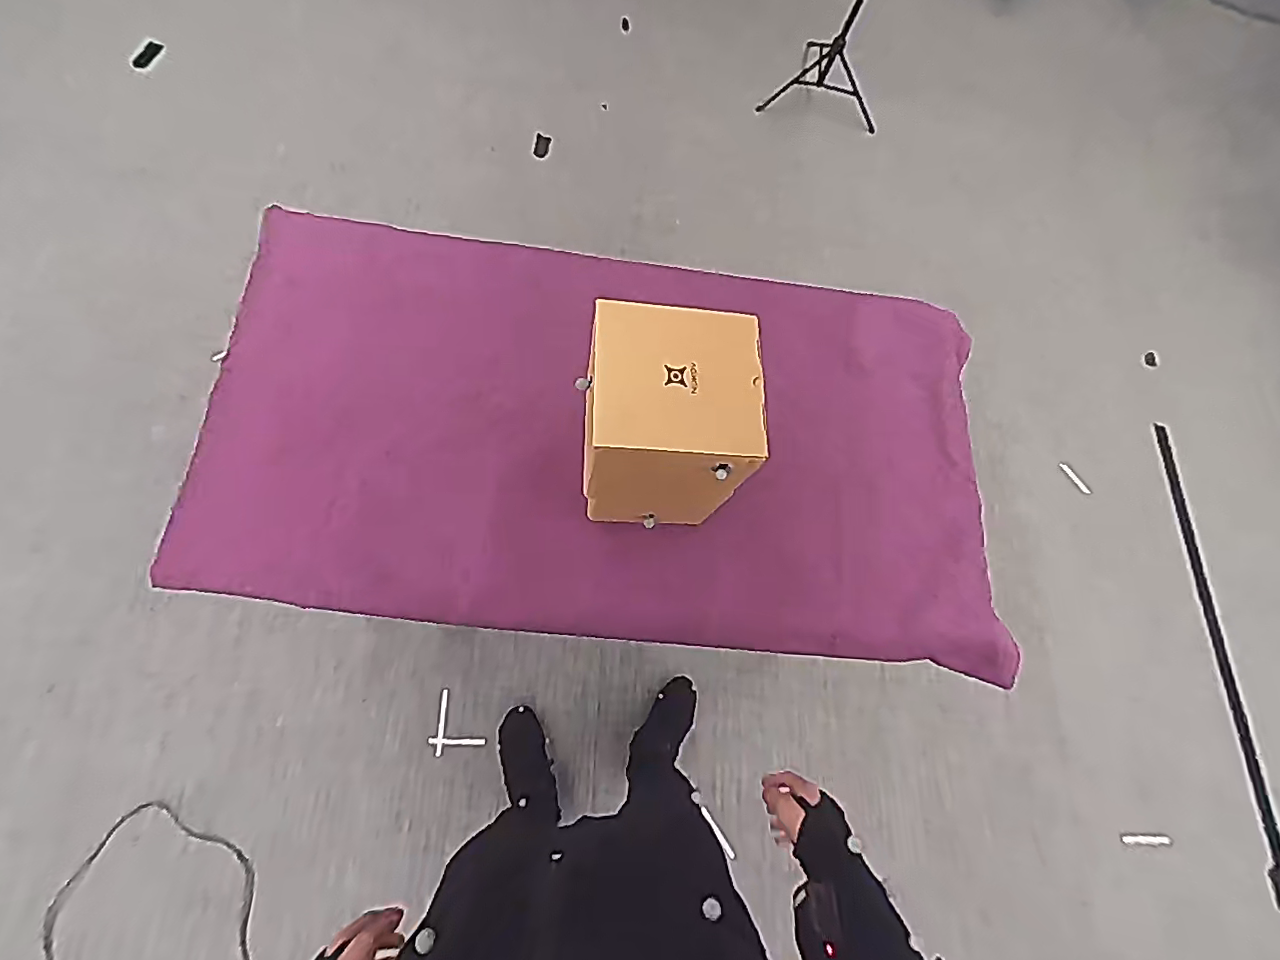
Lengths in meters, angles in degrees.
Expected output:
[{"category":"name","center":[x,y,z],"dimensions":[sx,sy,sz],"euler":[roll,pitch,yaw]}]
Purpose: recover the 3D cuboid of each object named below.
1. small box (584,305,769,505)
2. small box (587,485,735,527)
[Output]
[{"category":"small box","center":[0.029,-0.073,0.614],"dimensions":[0.179,0.176,0.168],"euler":[3,71,-9]},{"category":"small box","center":[0.022,-0.032,0.773],"dimensions":[0.179,0.176,0.168],"euler":[3,71,-9]}]
